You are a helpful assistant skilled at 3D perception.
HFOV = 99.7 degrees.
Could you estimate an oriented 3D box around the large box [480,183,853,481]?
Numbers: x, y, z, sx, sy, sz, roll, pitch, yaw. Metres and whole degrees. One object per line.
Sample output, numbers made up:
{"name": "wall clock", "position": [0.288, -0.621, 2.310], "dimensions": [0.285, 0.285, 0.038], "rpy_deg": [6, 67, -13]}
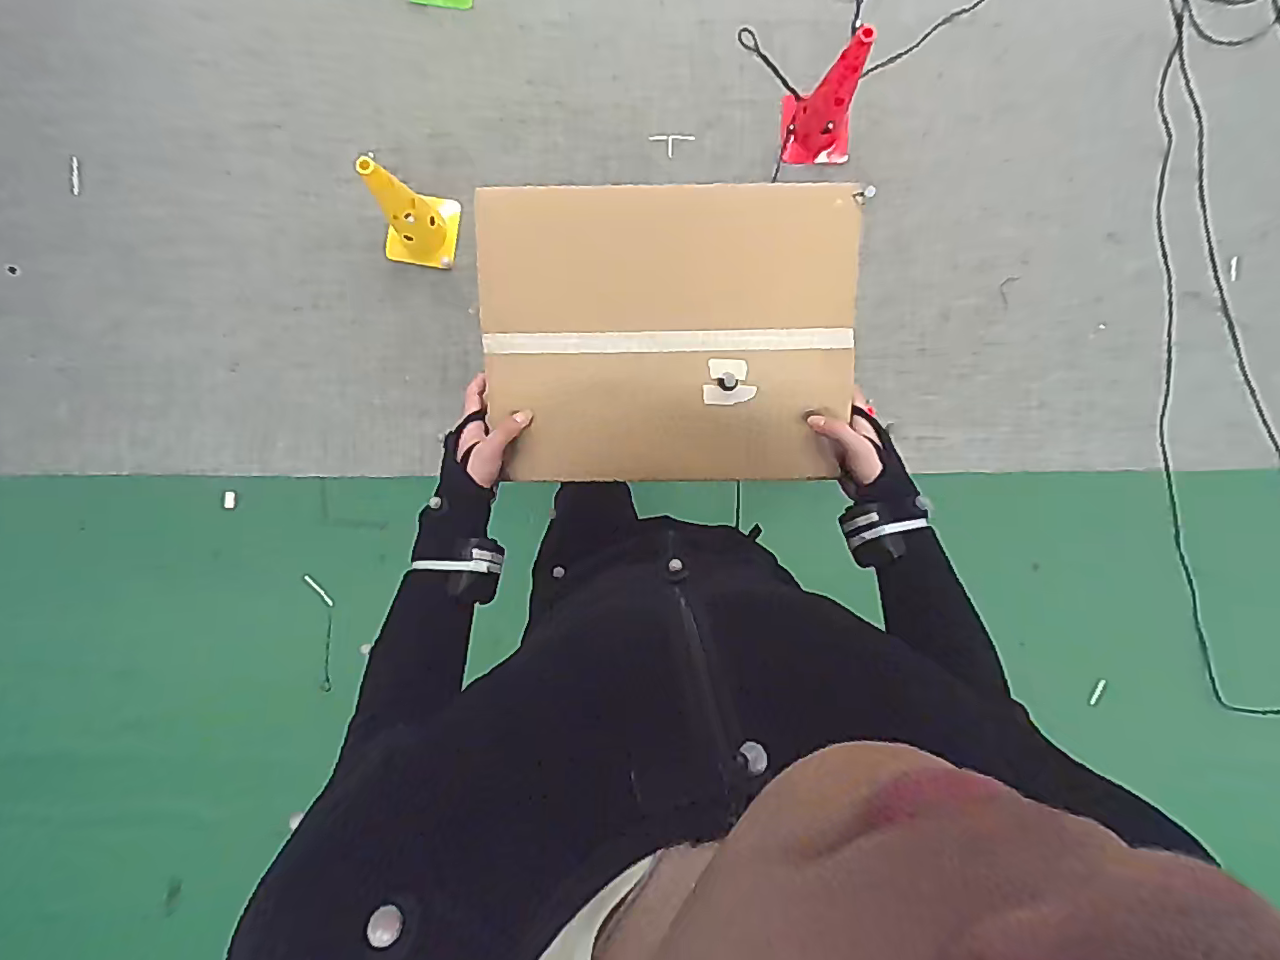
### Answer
{"name": "large box", "position": [0.030, -0.185, 0.746], "dimensions": [0.408, 0.320, 0.320], "rpy_deg": [-1, 102, 0]}

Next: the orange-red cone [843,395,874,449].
{"name": "orange-red cone", "position": [0.532, -0.165, 1.452], "dimensions": [0.199, 0.360, 0.198], "rpy_deg": [7, 93, -3]}

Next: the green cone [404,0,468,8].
{"name": "green cone", "position": [-0.591, -1.470, 1.393], "dimensions": [0.200, 0.368, 0.202], "rpy_deg": [5, 93, -1]}
